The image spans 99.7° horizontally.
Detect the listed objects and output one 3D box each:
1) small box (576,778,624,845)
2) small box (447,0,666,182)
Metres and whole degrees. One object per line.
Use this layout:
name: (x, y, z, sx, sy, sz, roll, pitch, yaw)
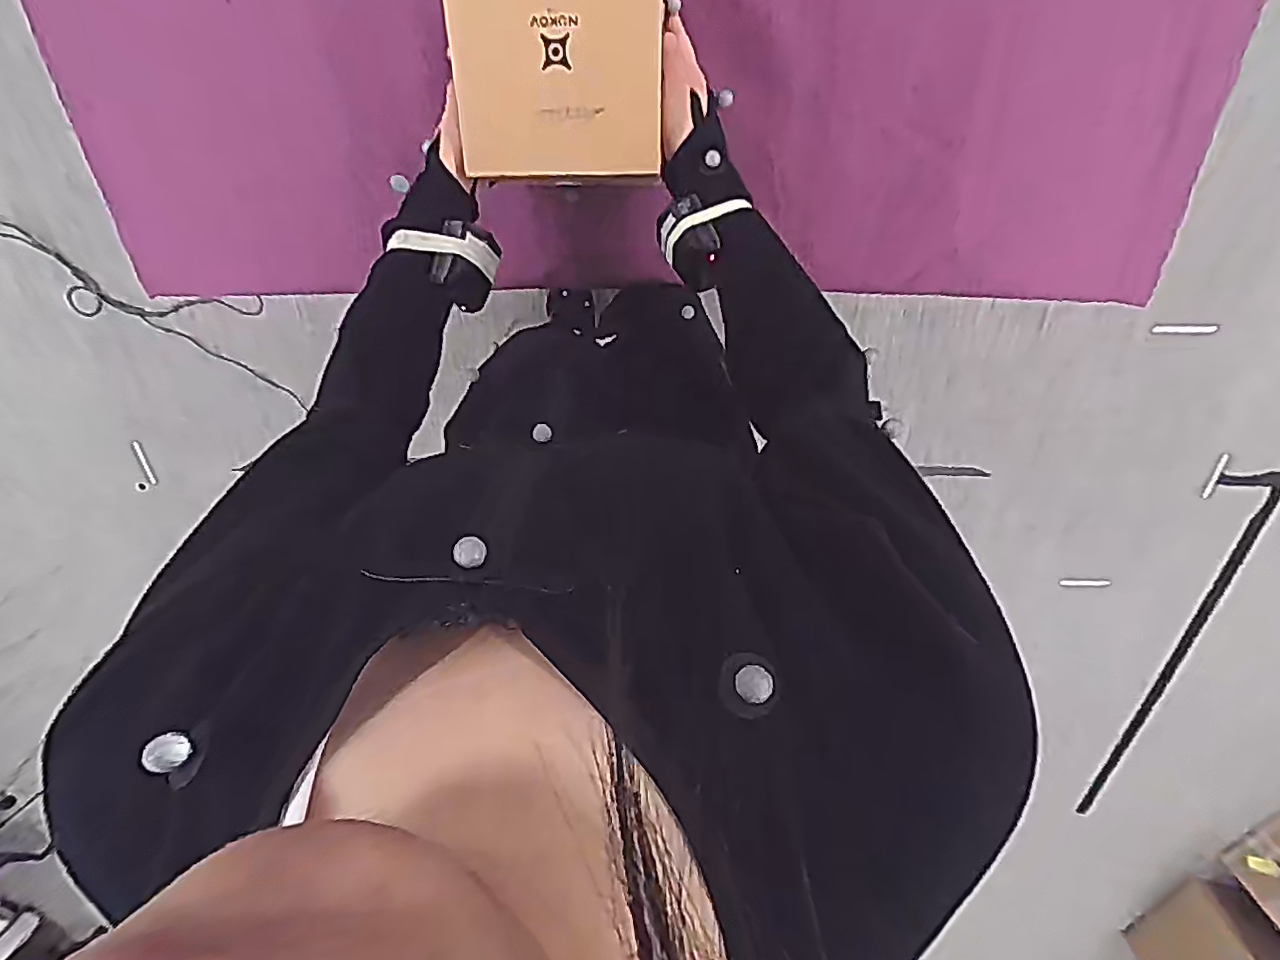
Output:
small box: (-0.155, 1.326, 2.166, 0.168, 0.176, 0.179, -5, 118, 3)
small box: (-0.061, -0.369, 0.481, 0.168, 0.176, 0.179, 0, 117, 2)
